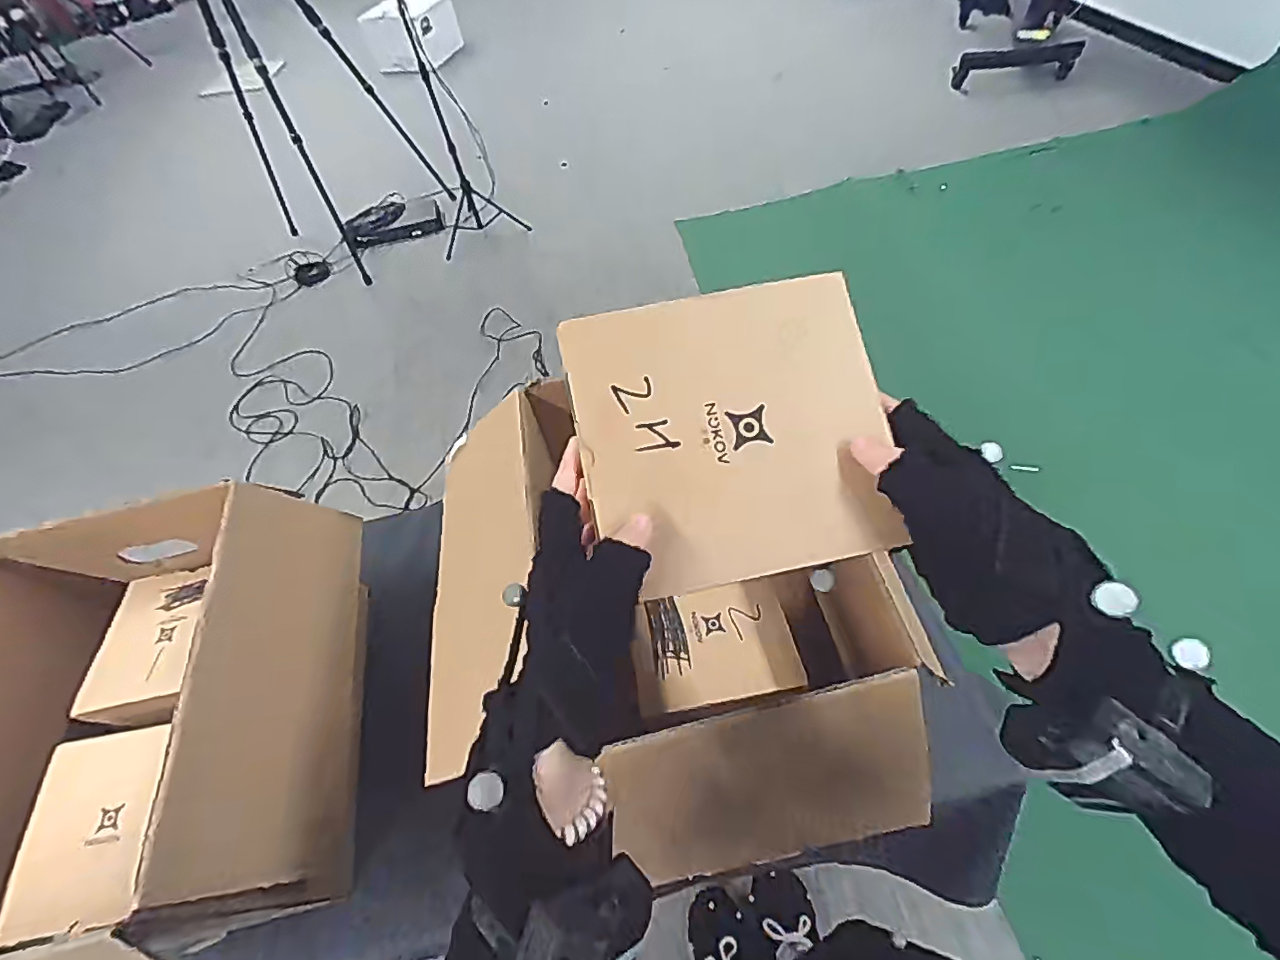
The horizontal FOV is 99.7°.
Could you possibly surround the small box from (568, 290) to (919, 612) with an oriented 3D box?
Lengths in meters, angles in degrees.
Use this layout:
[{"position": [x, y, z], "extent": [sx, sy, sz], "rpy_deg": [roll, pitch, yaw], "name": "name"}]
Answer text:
[{"position": [0.053, -0.007, 0.384], "extent": [0.179, 0.176, 0.168], "rpy_deg": [-11, 79, -3], "name": "small box"}]
